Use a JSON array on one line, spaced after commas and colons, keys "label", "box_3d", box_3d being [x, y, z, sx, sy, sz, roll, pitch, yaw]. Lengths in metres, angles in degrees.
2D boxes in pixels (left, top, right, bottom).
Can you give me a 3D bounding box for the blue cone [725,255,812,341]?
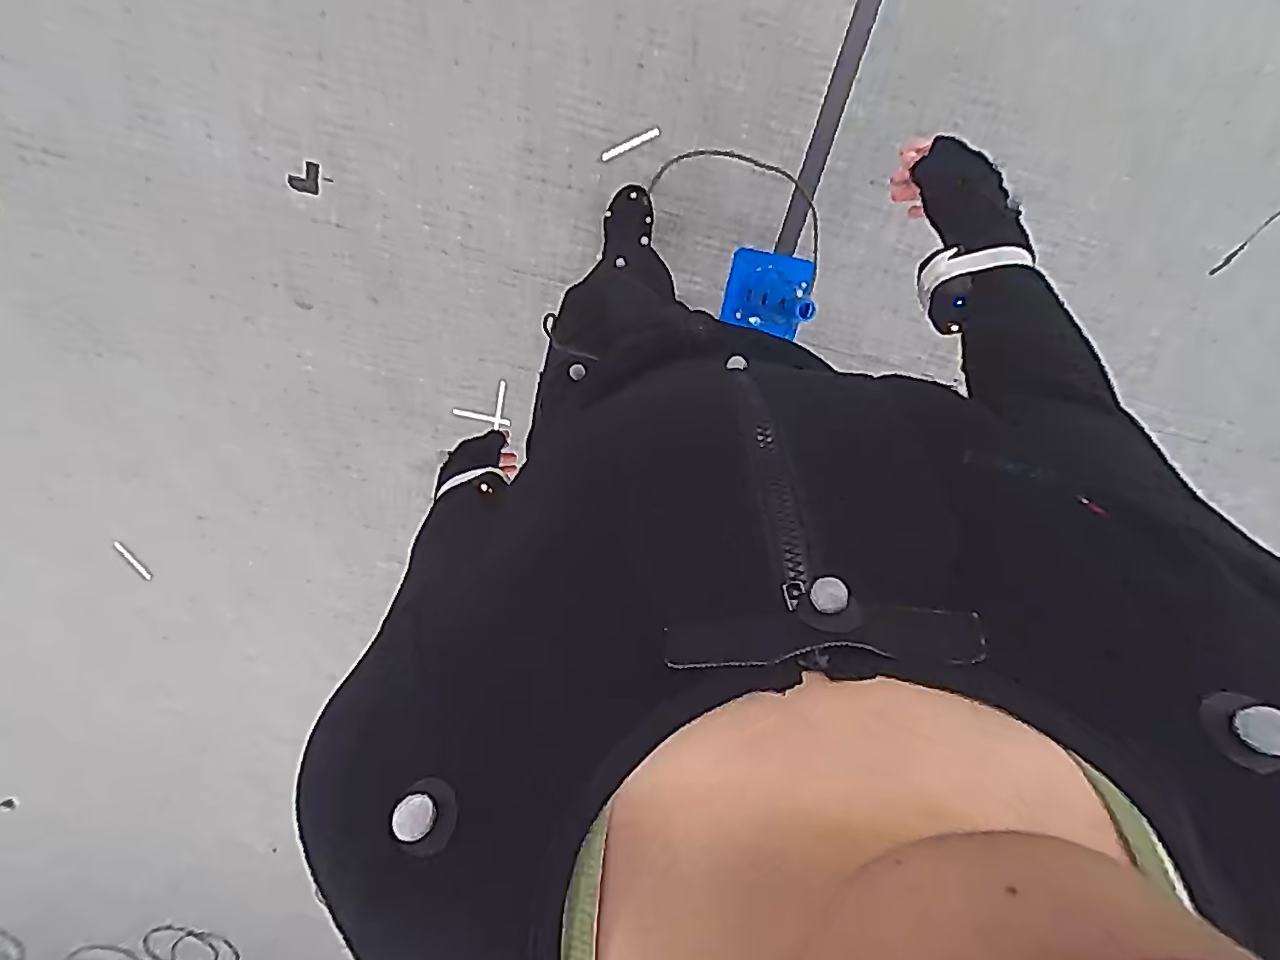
[{"label": "blue cone", "box_3d": [0.311, -0.373, 1.165, 0.192, 0.380, 0.193, 8, 113, -3]}]
